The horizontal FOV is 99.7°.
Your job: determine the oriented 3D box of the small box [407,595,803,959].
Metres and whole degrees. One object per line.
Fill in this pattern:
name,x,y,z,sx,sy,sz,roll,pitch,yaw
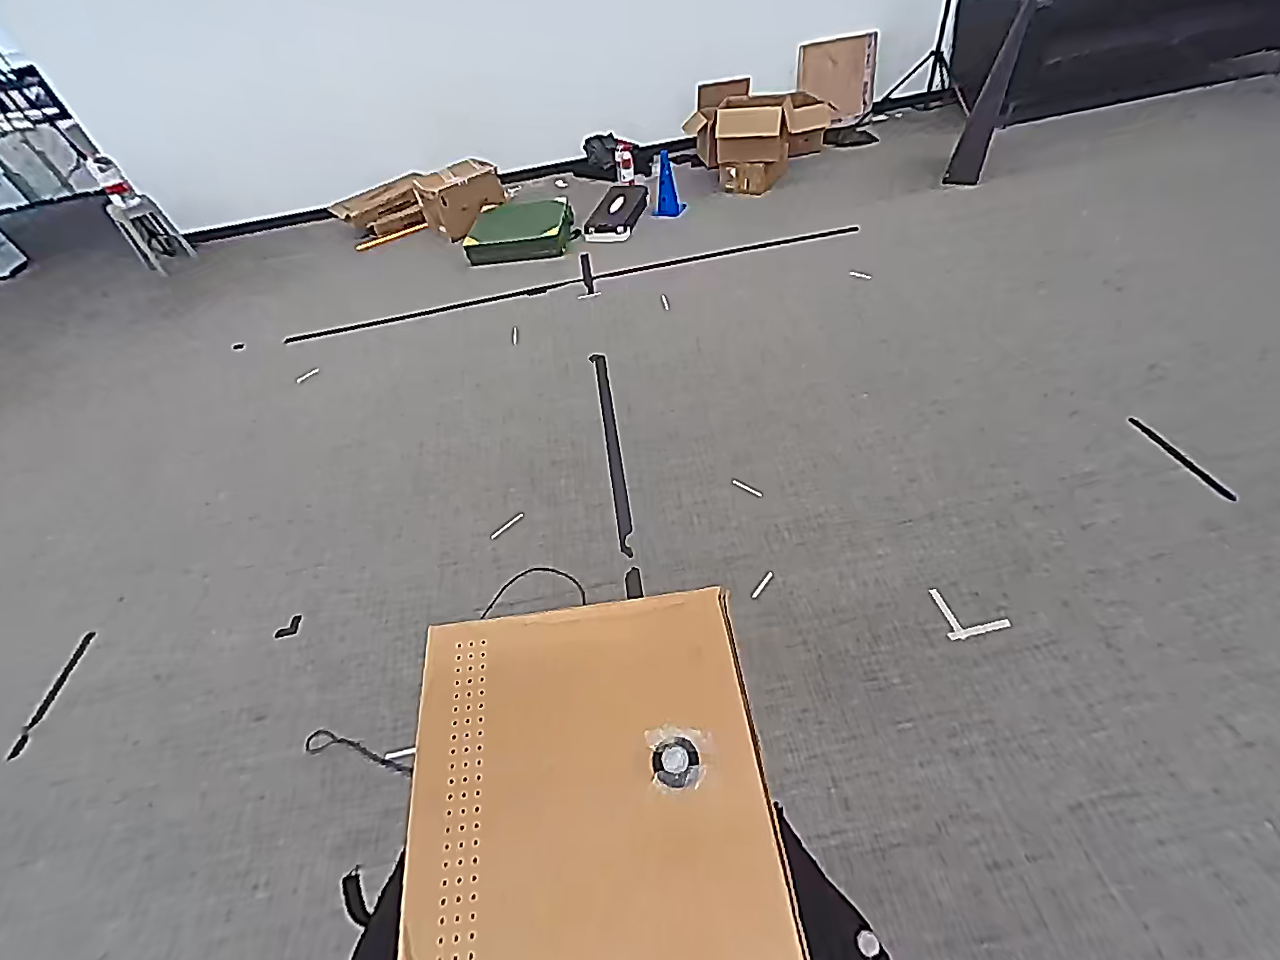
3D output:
small box,-0.021,0.191,0.326,0.176,0.168,0.179,-8,56,0
